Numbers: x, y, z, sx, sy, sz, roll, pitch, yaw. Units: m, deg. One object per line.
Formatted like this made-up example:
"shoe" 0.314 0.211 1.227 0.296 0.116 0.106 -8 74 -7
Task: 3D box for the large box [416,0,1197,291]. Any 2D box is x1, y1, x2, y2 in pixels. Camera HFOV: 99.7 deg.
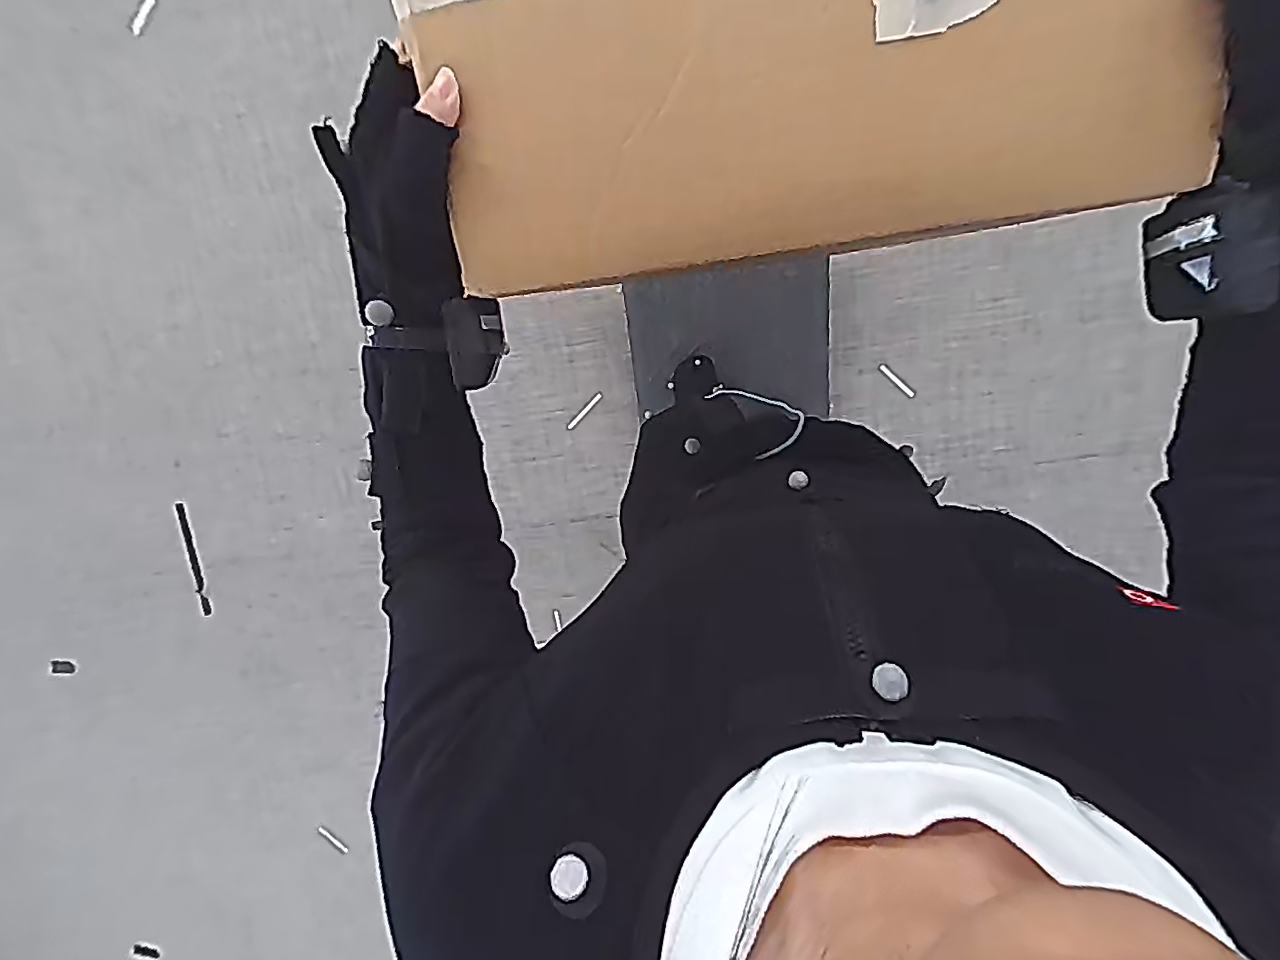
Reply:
"large box" 0.083 -0.338 0.411 0.408 0.320 0.320 -6 110 9
